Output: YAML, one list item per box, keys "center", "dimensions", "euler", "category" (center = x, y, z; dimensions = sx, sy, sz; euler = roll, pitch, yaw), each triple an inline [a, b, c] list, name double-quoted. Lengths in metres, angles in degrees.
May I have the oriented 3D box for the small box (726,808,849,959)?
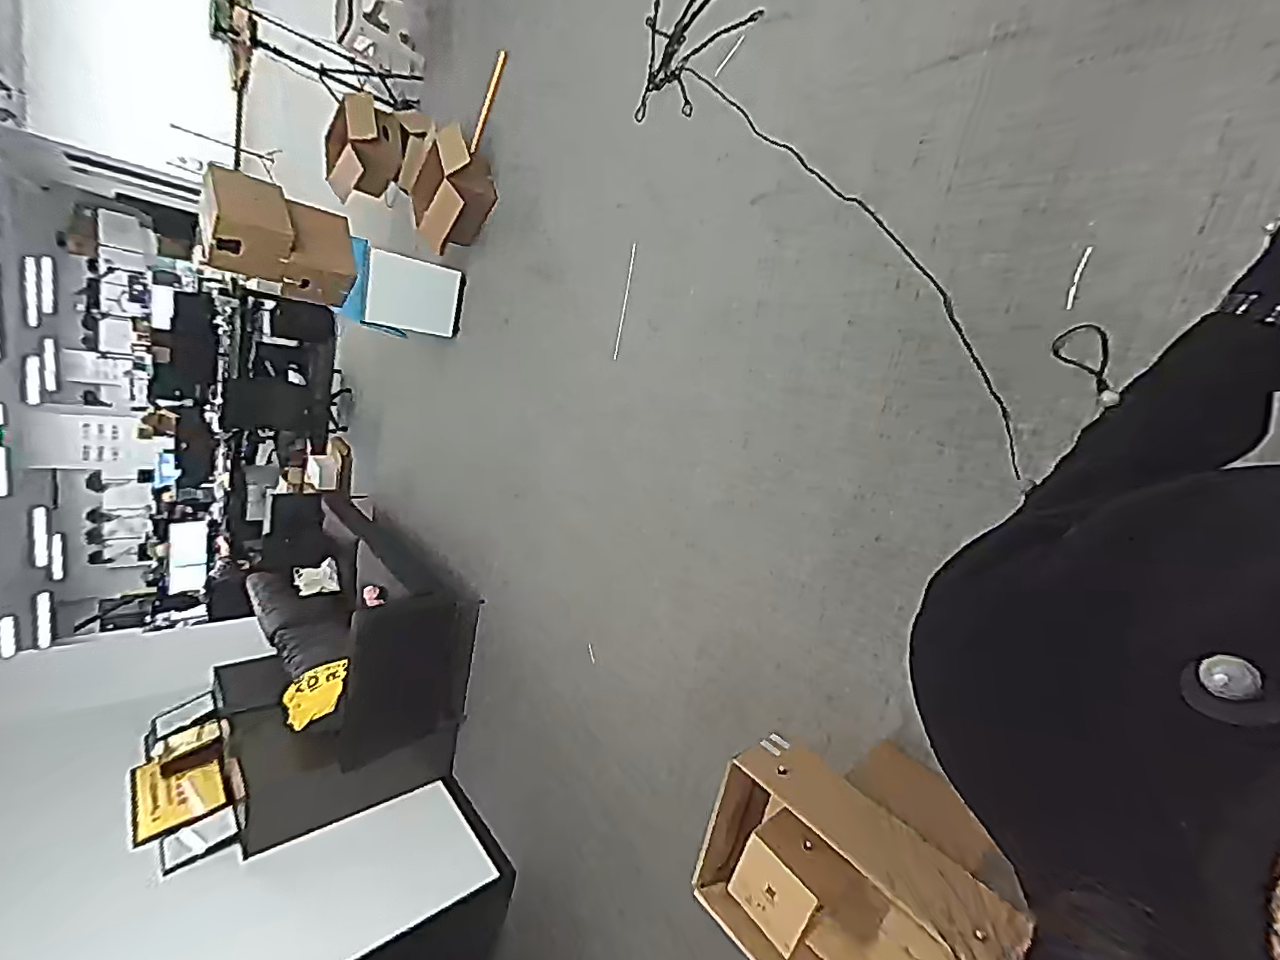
- center: [0.320, 0.855, 1.161]
  dimensions: [0.168, 0.176, 0.179]
  euler: [33, 112, 43]
  category: "small box"
